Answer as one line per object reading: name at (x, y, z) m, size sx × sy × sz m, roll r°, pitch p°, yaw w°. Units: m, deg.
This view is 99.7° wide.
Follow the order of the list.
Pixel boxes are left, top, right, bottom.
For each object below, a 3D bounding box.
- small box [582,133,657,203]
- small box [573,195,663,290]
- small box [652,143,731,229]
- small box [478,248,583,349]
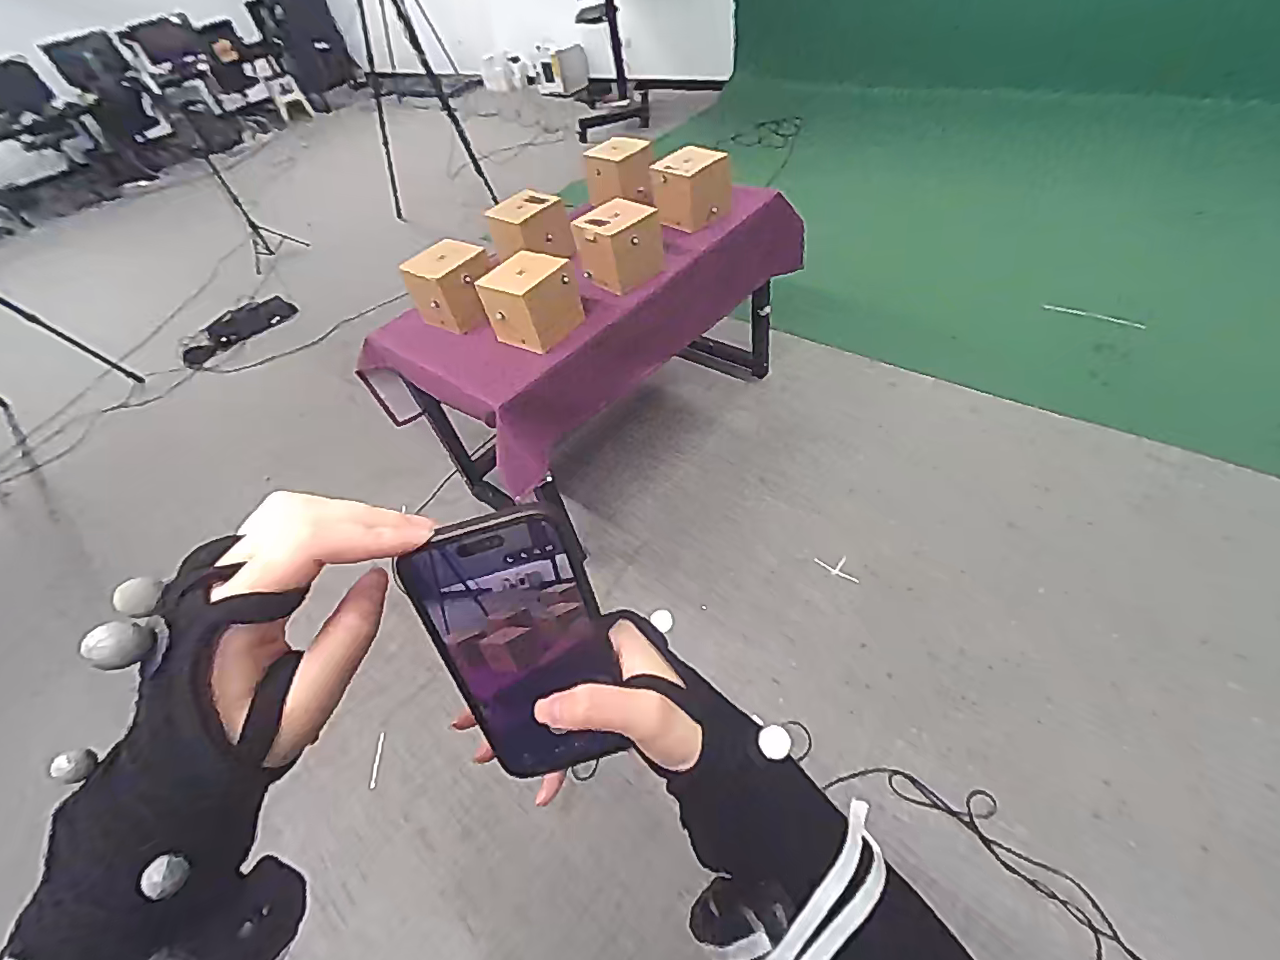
small box at (-0.064, -1.038, 1.819) m, size 0.179 × 0.176 × 0.168 m, roll 33°, pitch 63°, yaw 32°
small box at (-0.052, -0.647, 1.478) m, size 0.179 × 0.176 × 0.168 m, roll -39°, pitch 53°, yaw -22°
small box at (0.160, -0.897, 1.651) m, size 0.179 × 0.176 × 0.168 m, roll -38°, pitch 53°, yaw -21°
small box at (-0.265, -0.453, 1.354) m, size 0.168 × 0.176 × 0.179 m, roll 23°, pitch 56°, yaw 28°
